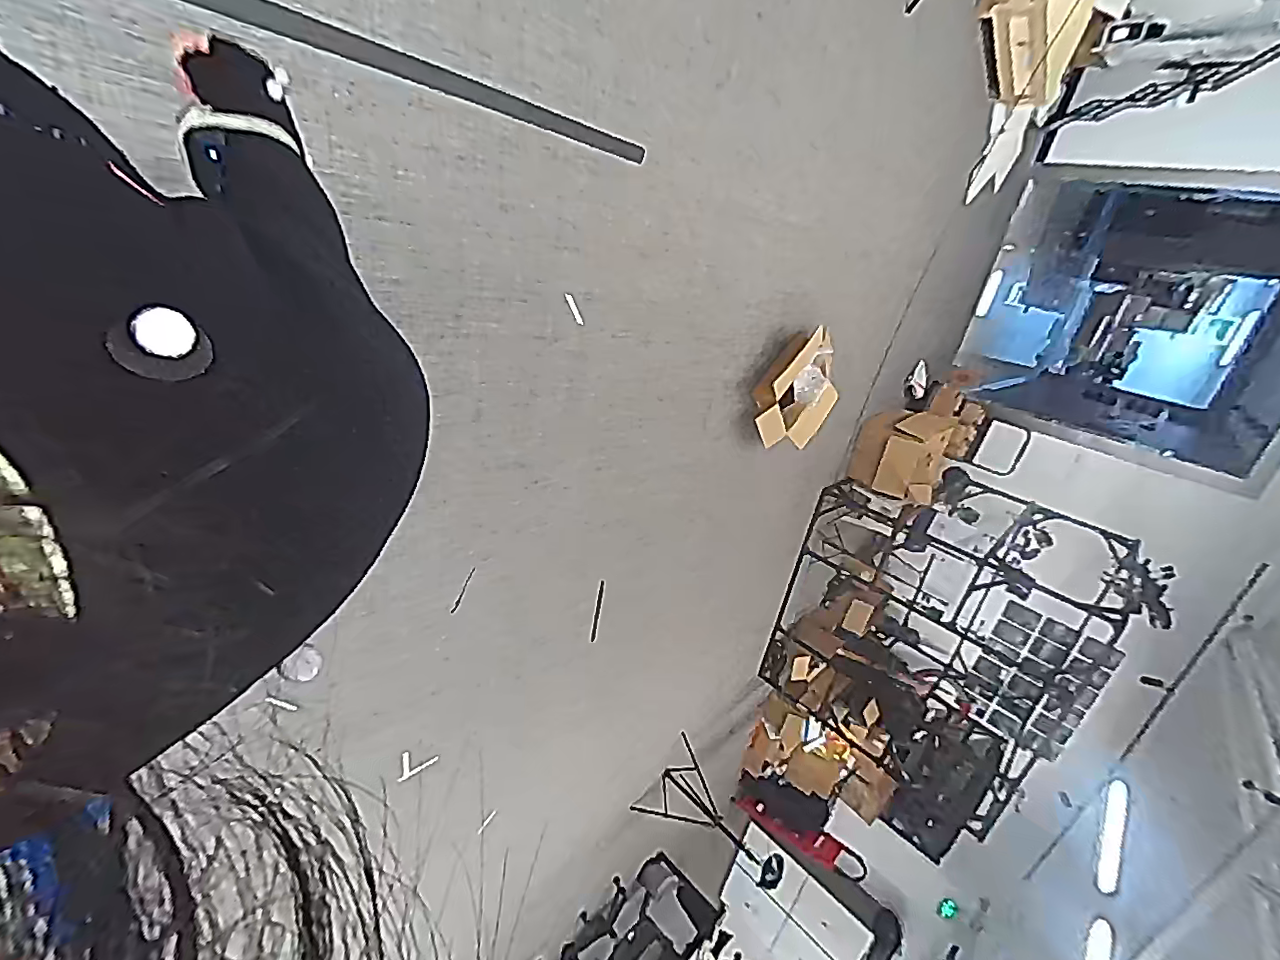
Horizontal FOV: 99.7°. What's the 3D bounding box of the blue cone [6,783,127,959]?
[{"bbox_3d":[-1.308,0.934,1.256,0.193,0.380,0.192,-15,125,-44],"label":"blue cone"}]
